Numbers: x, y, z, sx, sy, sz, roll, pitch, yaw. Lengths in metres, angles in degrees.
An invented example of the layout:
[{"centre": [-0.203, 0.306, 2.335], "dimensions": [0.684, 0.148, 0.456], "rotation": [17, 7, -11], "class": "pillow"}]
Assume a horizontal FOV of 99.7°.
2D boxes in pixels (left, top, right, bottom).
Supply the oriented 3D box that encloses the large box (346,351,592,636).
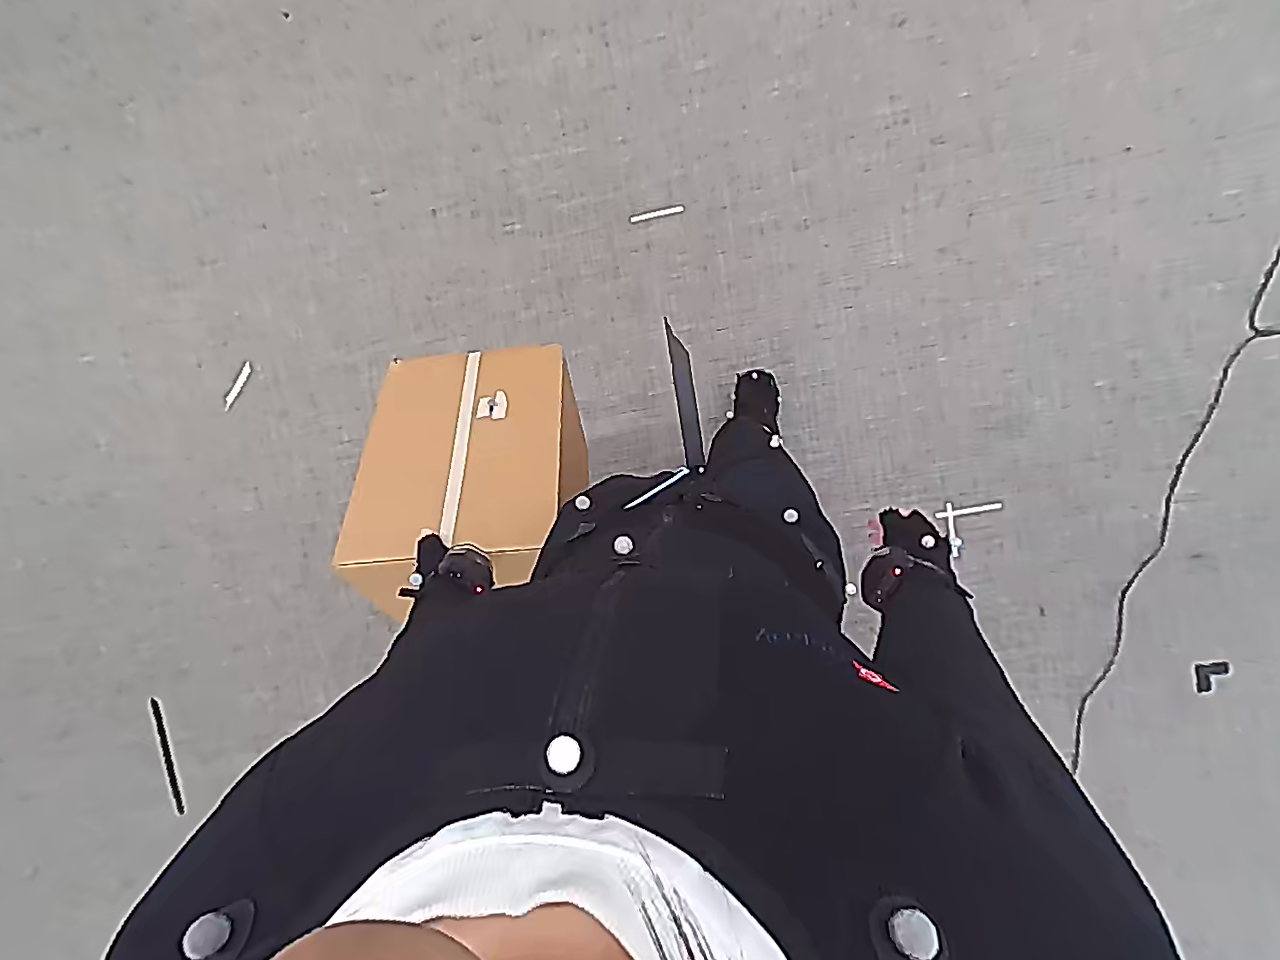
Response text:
[{"centre": [-0.263, 0.028, 0.980], "dimensions": [0.320, 0.320, 0.408], "rotation": [-4, 55, 0], "class": "large box"}]
